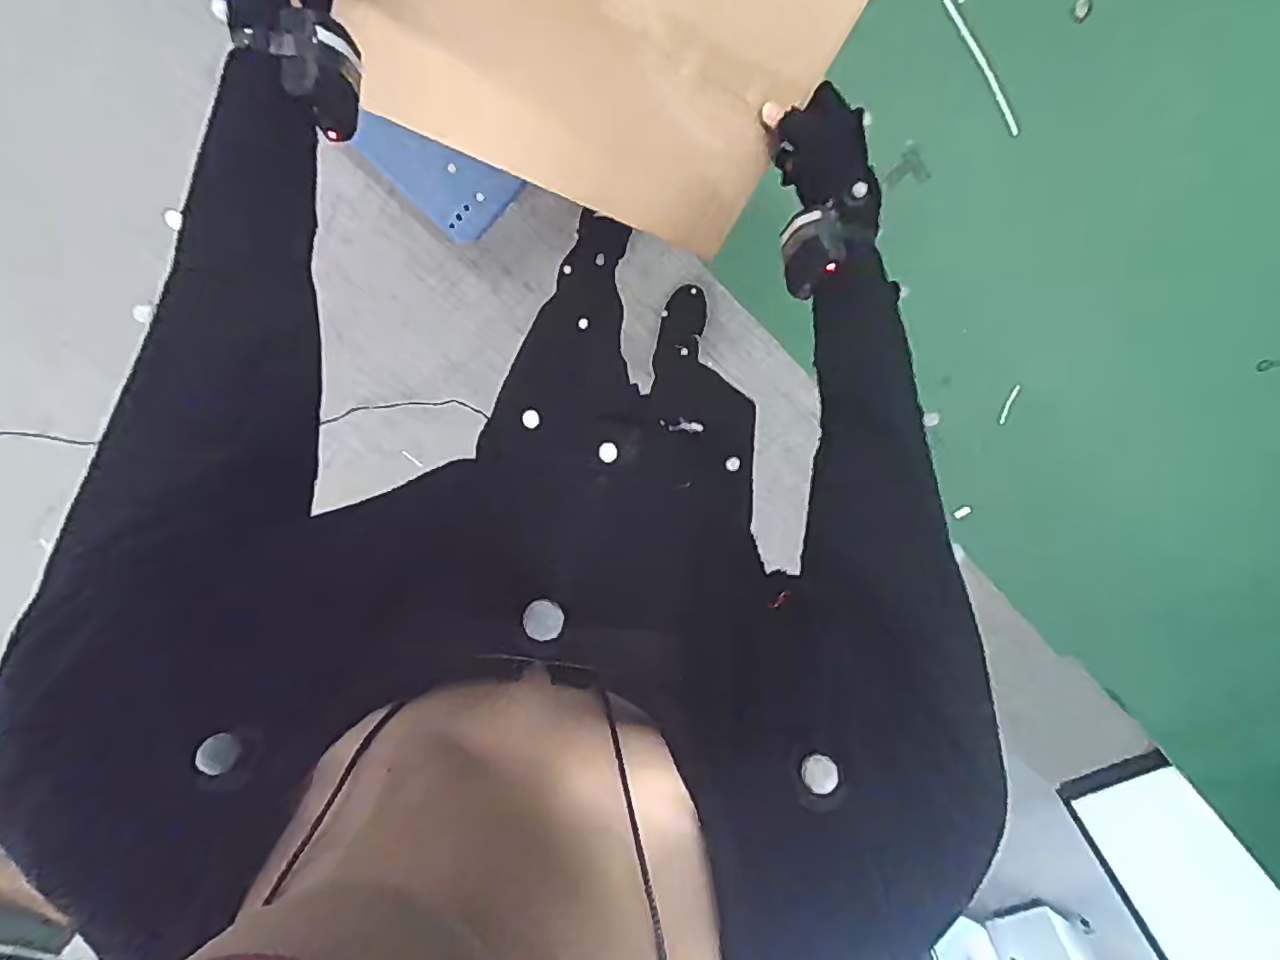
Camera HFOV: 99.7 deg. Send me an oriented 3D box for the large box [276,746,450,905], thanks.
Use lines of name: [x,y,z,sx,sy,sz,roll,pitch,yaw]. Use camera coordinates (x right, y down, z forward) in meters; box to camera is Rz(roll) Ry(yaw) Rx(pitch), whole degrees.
large box: [-0.961,1.226,1.925,0.408,0.320,0.320,39,111,-23]
